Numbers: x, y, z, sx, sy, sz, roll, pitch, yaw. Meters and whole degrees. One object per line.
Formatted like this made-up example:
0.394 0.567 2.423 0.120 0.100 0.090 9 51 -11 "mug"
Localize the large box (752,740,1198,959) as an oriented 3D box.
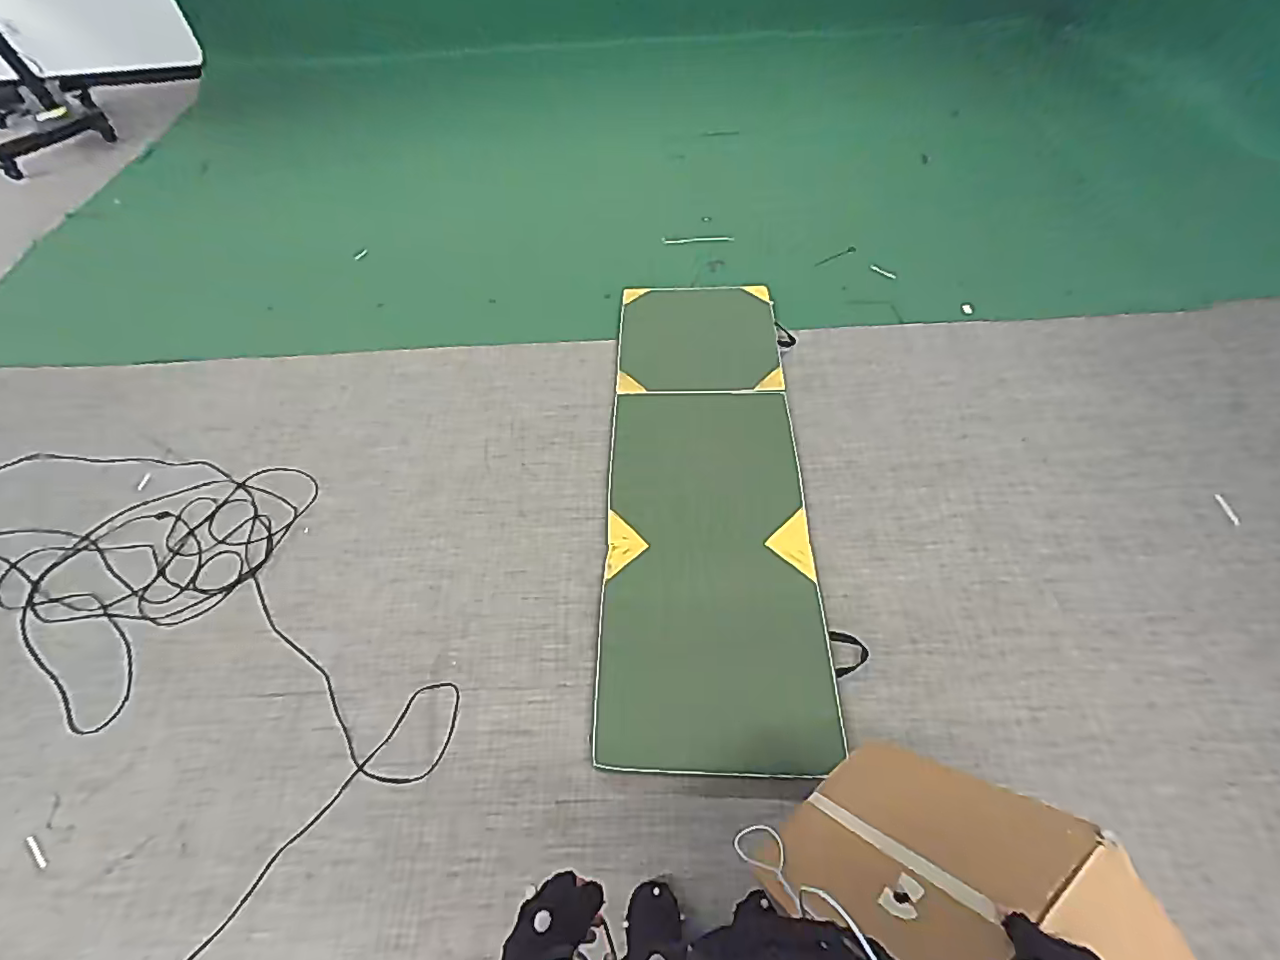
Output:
0.432 0.625 0.731 0.320 0.408 0.320 -34 88 -19 "large box"
